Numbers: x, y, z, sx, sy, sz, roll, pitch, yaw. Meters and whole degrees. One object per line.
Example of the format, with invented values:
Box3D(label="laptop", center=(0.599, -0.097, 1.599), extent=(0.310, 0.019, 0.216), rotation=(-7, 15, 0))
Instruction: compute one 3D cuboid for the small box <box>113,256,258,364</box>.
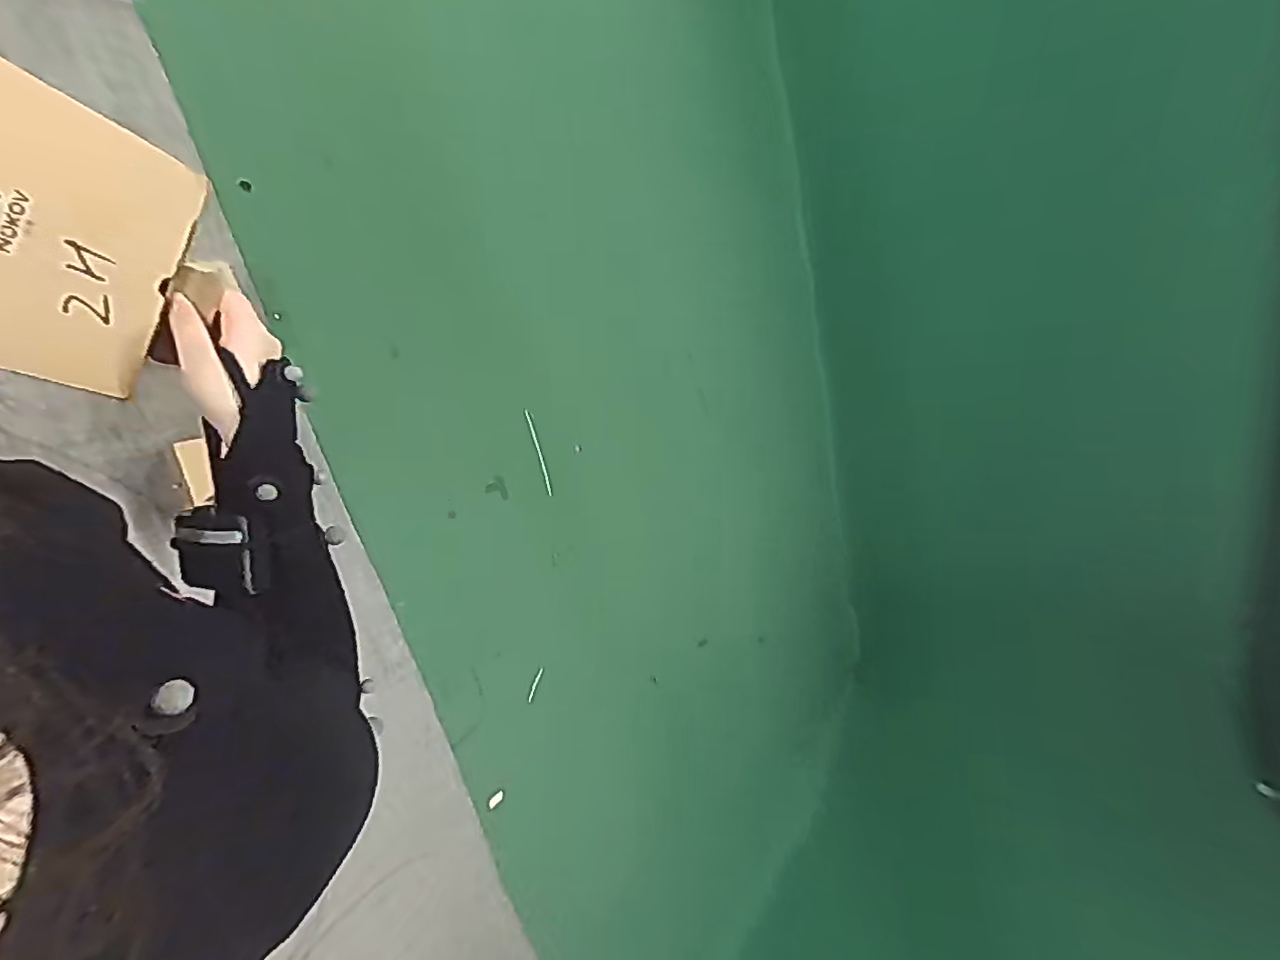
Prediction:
Box3D(label="small box", center=(-0.938, -0.347, 1.116), extent=(0.179, 0.176, 0.168), rotation=(-33, 114, -42))
